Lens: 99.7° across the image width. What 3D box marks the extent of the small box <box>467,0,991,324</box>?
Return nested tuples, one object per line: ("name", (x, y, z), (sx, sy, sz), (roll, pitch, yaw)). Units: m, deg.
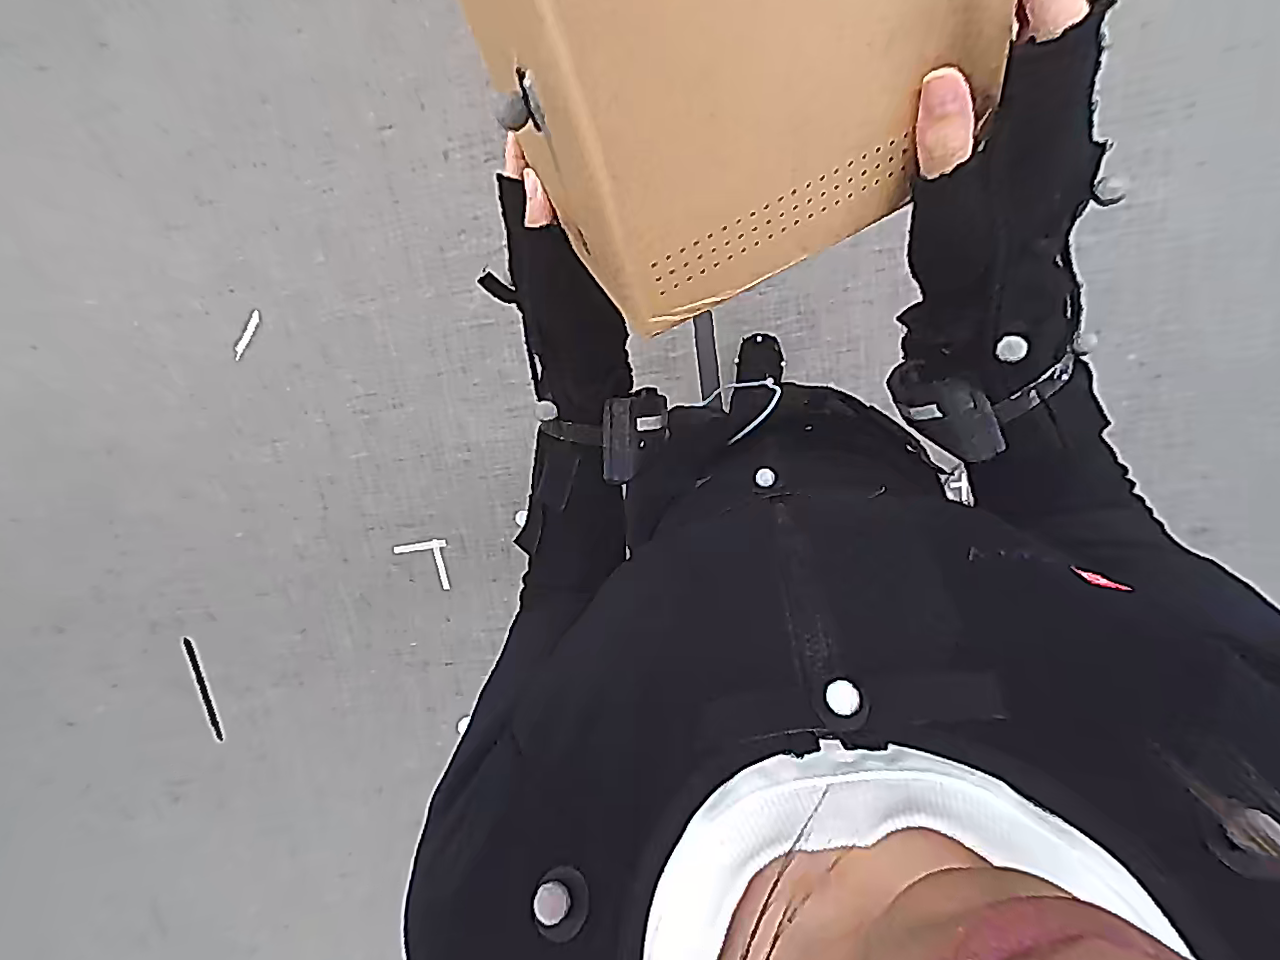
("small box", (0.028, -0.201, 0.238), (0.179, 0.168, 0.176), (-26, 138, 0))
